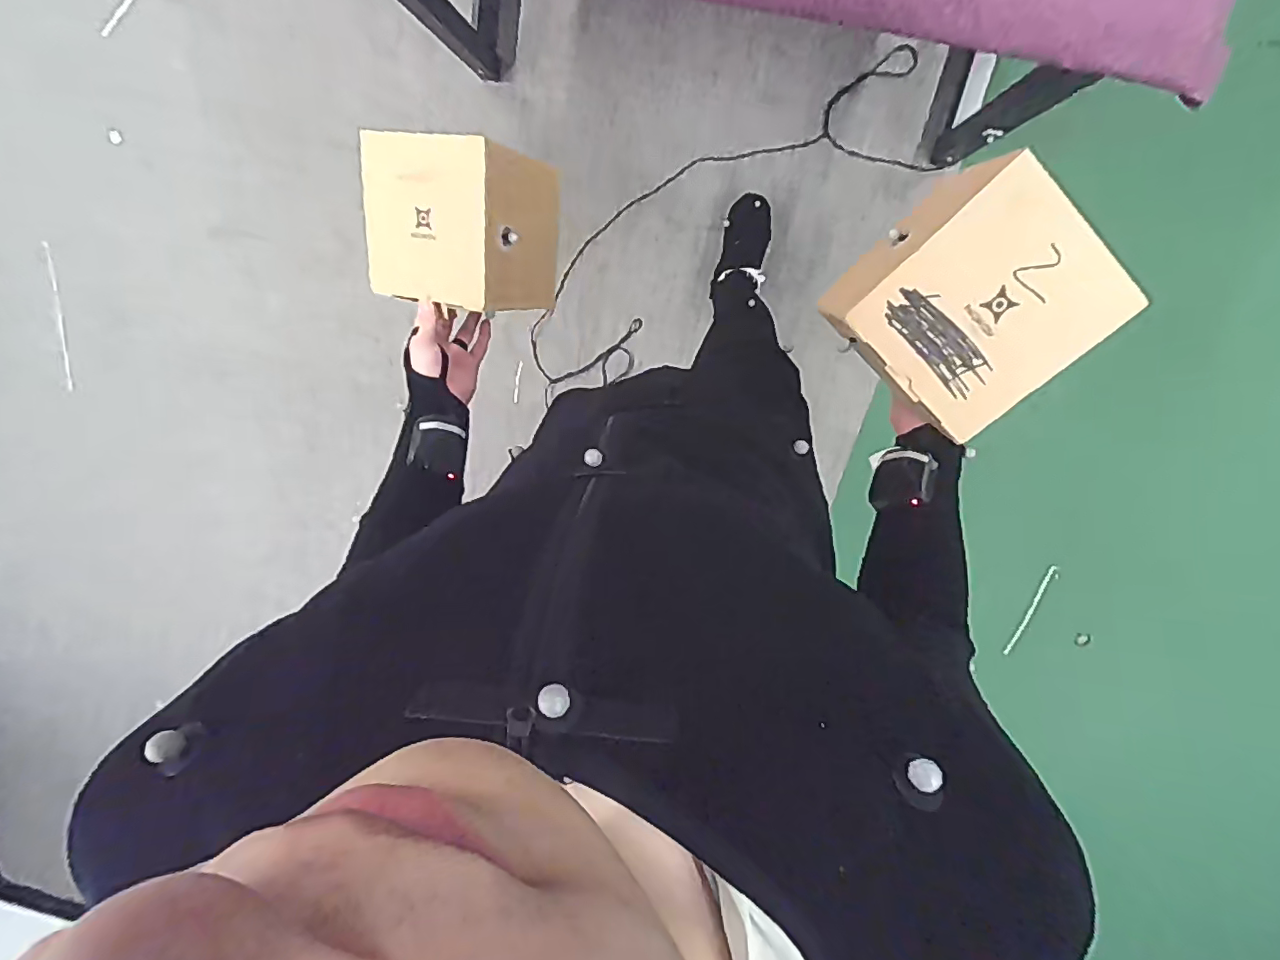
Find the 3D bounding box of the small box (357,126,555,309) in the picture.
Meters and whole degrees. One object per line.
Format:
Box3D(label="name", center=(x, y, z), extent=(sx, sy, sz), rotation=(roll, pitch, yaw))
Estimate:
Box3D(label="small box", center=(-0.218, -0.317, 0.676), extent=(0.168, 0.176, 0.179), rotation=(13, 112, 16))
